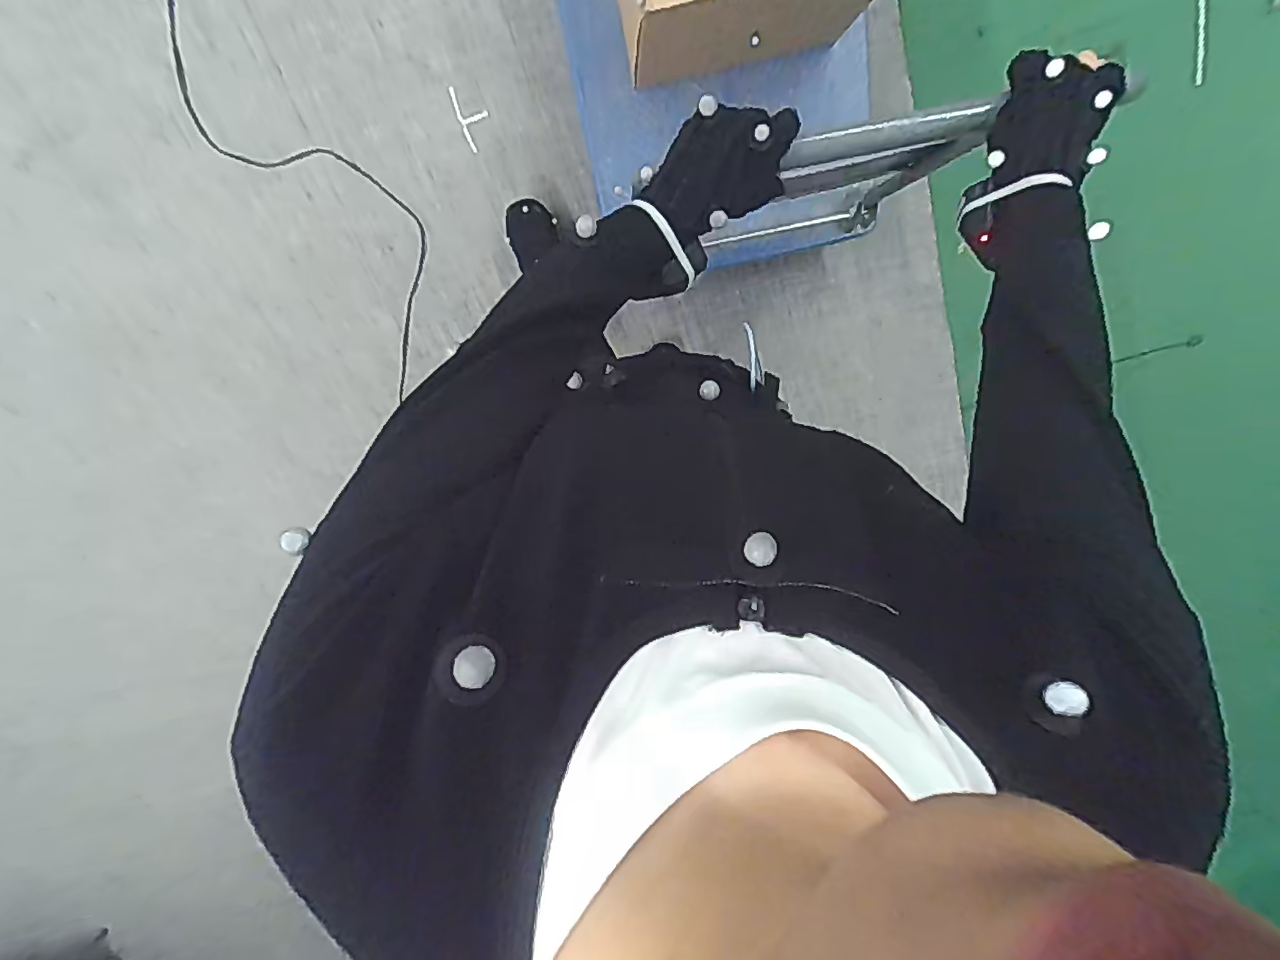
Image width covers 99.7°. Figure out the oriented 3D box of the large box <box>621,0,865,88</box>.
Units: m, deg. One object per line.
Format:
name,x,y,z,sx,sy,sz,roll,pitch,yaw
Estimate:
large box,0.162,-0.906,0.874,0.408,0.320,0.320,-12,108,2
